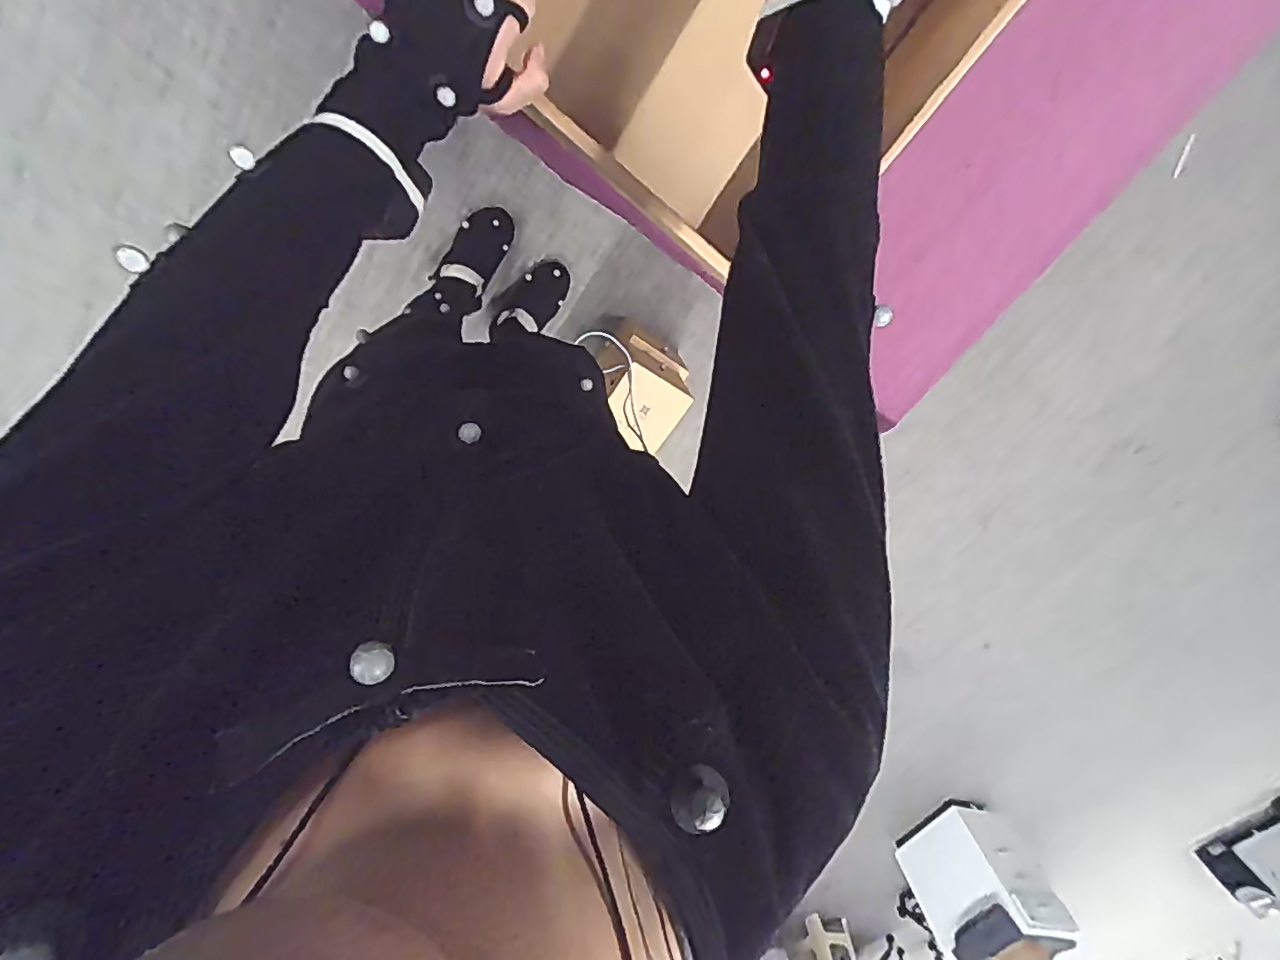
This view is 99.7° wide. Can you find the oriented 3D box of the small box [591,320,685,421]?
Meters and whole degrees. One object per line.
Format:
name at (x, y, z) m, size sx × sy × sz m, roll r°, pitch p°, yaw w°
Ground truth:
small box at (-0.011, -0.288, 1.391) m, size 0.179 × 0.176 × 0.168 m, roll 30°, pitch 112°, yaw -23°
